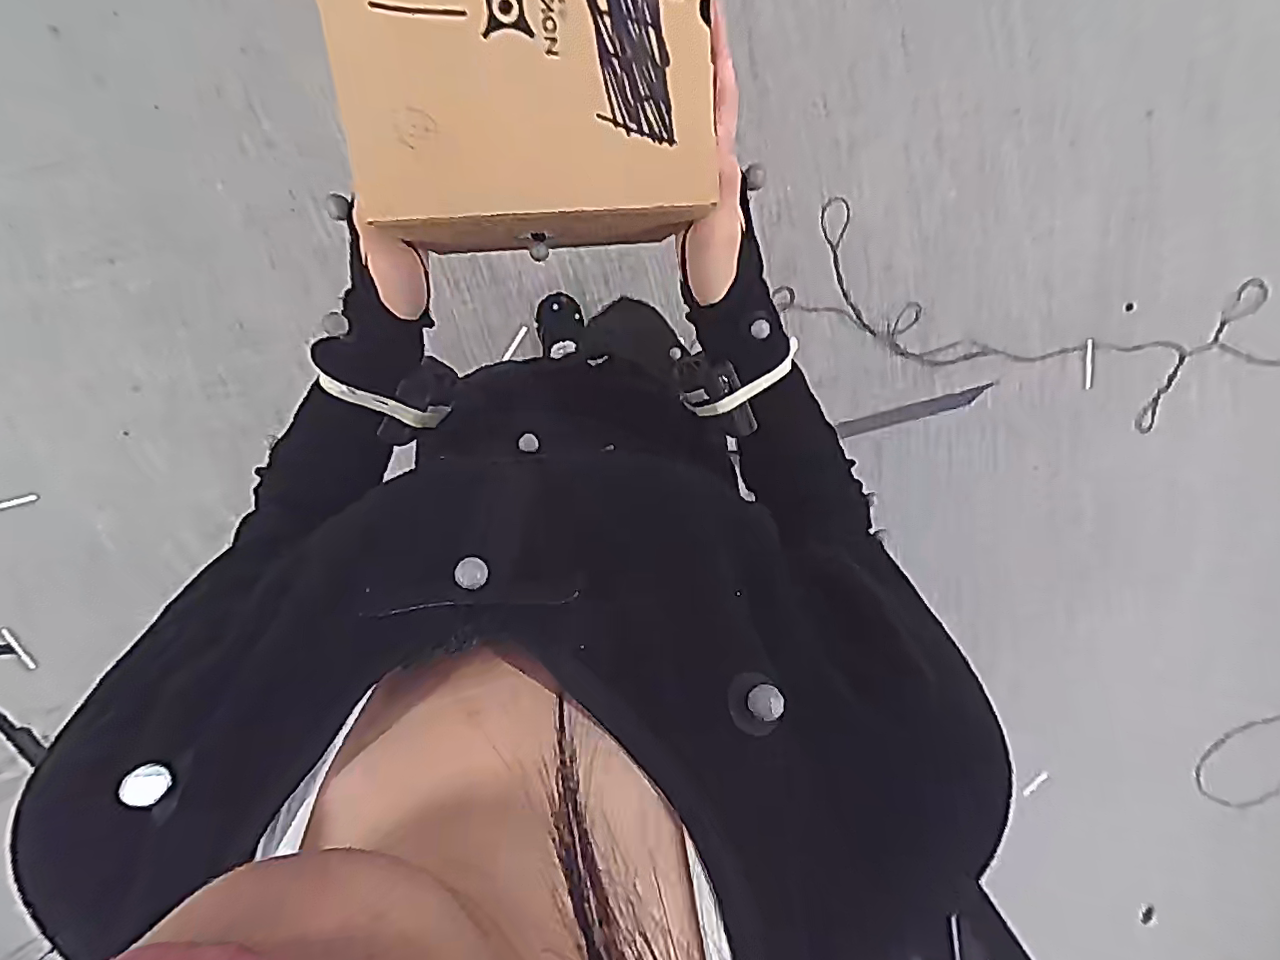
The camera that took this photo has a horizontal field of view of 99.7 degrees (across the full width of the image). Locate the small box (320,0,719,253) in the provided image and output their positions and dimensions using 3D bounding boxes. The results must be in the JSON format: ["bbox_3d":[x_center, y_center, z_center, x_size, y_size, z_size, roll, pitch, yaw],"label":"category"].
[{"bbox_3d":[-0.061,-0.231,0.316,0.179,0.176,0.168,-5,108,-6],"label":"small box"}]
